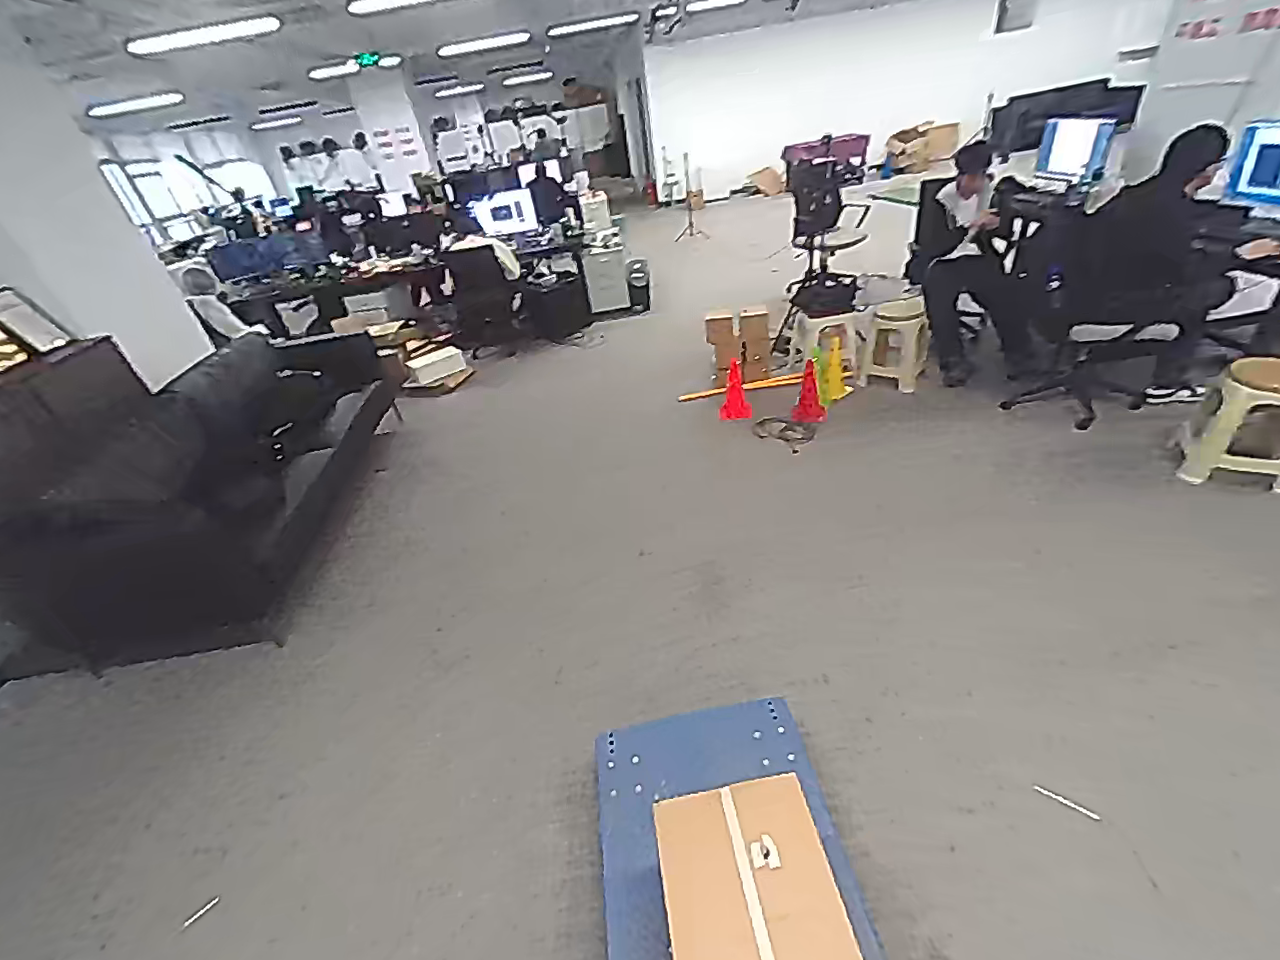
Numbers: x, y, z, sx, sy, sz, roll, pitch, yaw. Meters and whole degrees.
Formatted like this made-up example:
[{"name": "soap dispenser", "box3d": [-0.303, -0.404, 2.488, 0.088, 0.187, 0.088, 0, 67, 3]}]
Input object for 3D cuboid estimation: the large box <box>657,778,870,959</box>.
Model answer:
[{"name": "large box", "box3d": [0.235, 0.881, 1.042, 0.320, 0.320, 0.408, -11, 33, -1]}]
